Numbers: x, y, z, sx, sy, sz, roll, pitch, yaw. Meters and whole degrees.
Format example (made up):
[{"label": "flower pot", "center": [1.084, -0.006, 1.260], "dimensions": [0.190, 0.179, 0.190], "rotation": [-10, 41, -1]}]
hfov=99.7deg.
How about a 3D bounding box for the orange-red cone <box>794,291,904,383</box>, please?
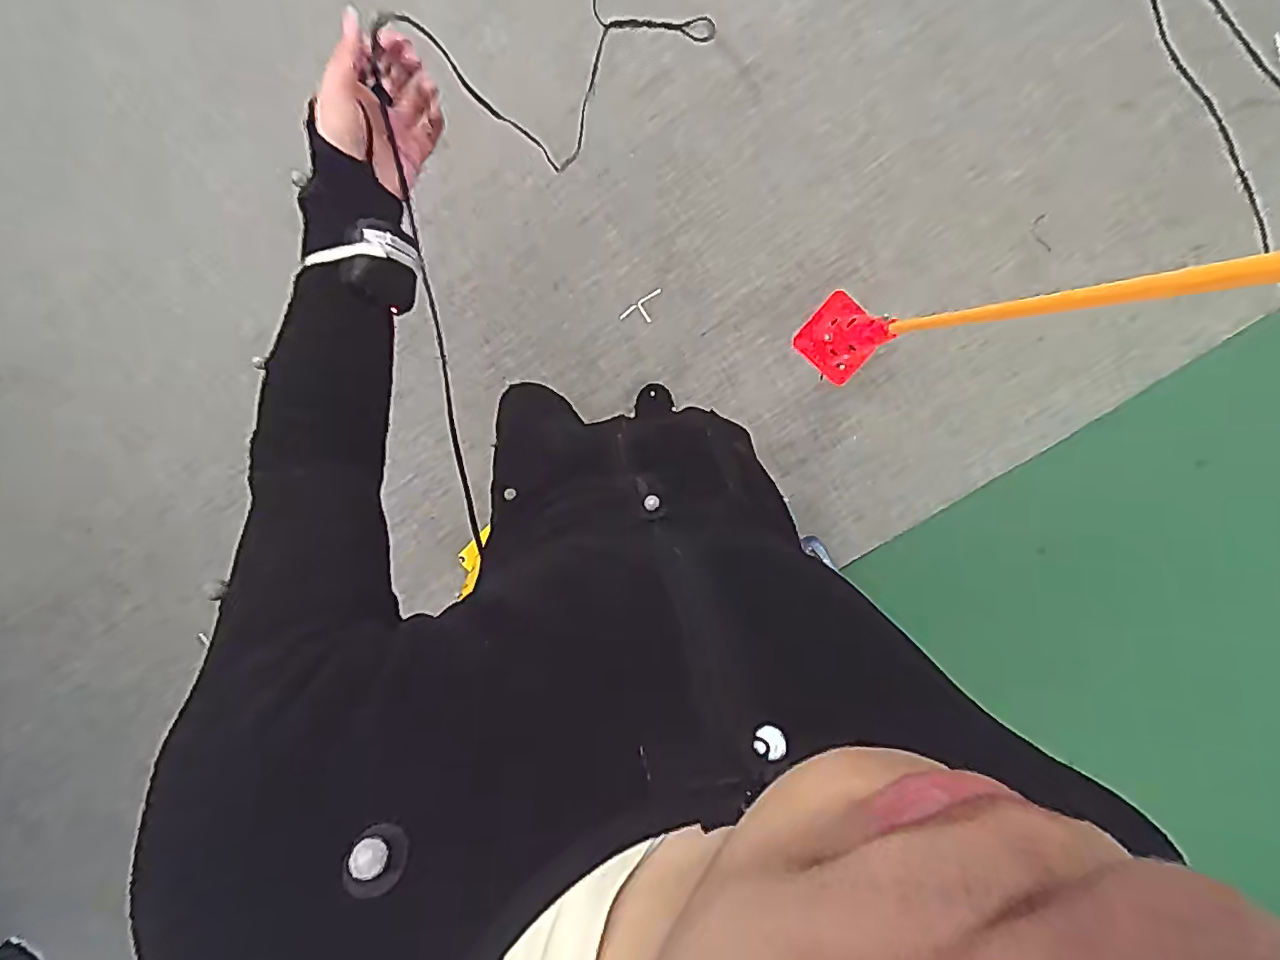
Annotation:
[{"label": "orange-red cone", "center": [0.556, -0.366, 1.344], "dimensions": [0.198, 0.360, 0.199], "rotation": [41, 98, -8]}]
